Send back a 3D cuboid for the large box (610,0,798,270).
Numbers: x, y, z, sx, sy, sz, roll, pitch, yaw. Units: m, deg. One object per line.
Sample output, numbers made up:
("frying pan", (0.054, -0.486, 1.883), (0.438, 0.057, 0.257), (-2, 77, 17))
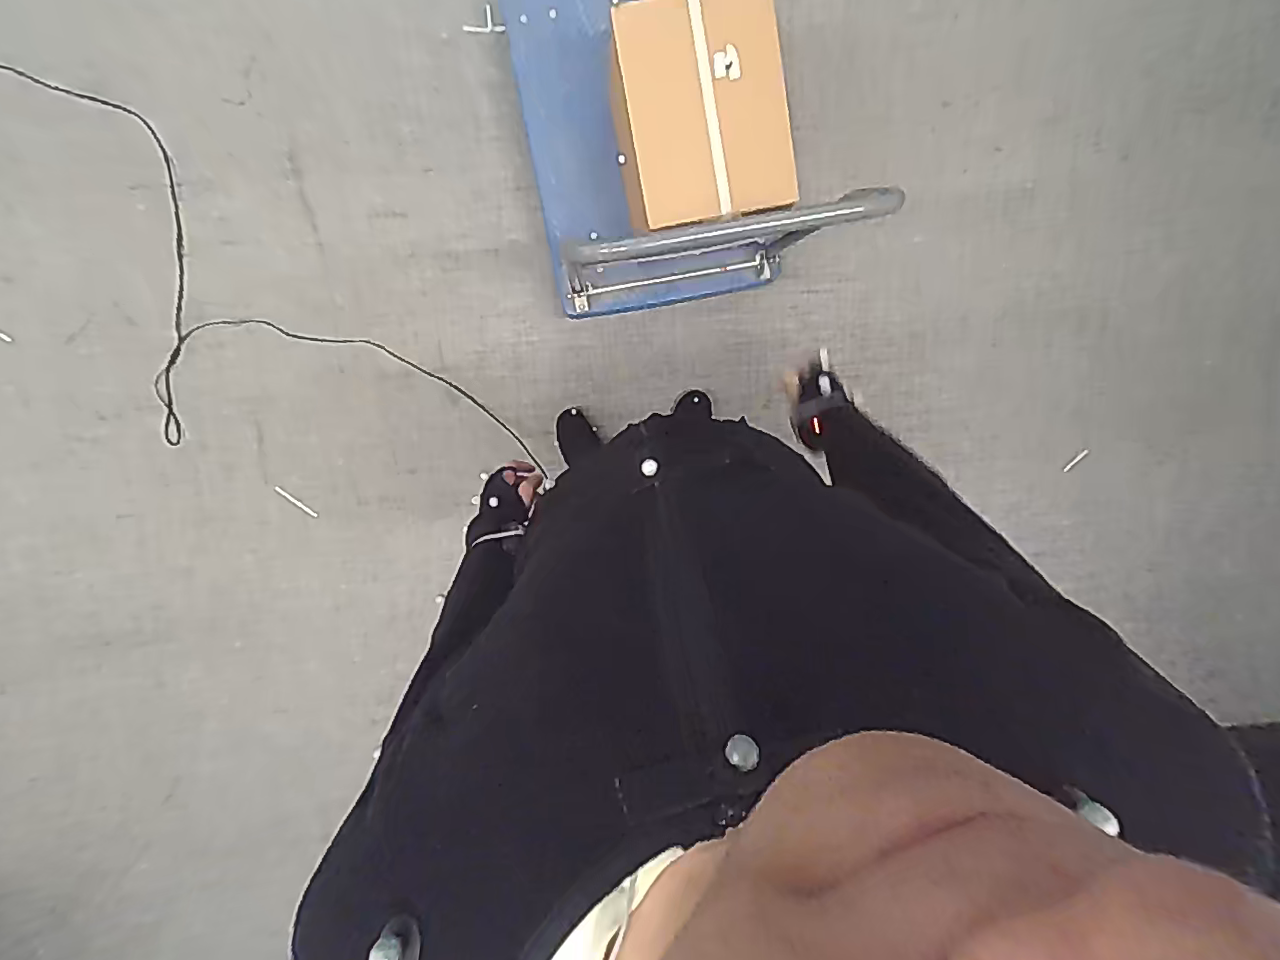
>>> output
("large box", (0.123, -0.732, 1.202), (0.320, 0.320, 0.408), (-12, 99, -3))
